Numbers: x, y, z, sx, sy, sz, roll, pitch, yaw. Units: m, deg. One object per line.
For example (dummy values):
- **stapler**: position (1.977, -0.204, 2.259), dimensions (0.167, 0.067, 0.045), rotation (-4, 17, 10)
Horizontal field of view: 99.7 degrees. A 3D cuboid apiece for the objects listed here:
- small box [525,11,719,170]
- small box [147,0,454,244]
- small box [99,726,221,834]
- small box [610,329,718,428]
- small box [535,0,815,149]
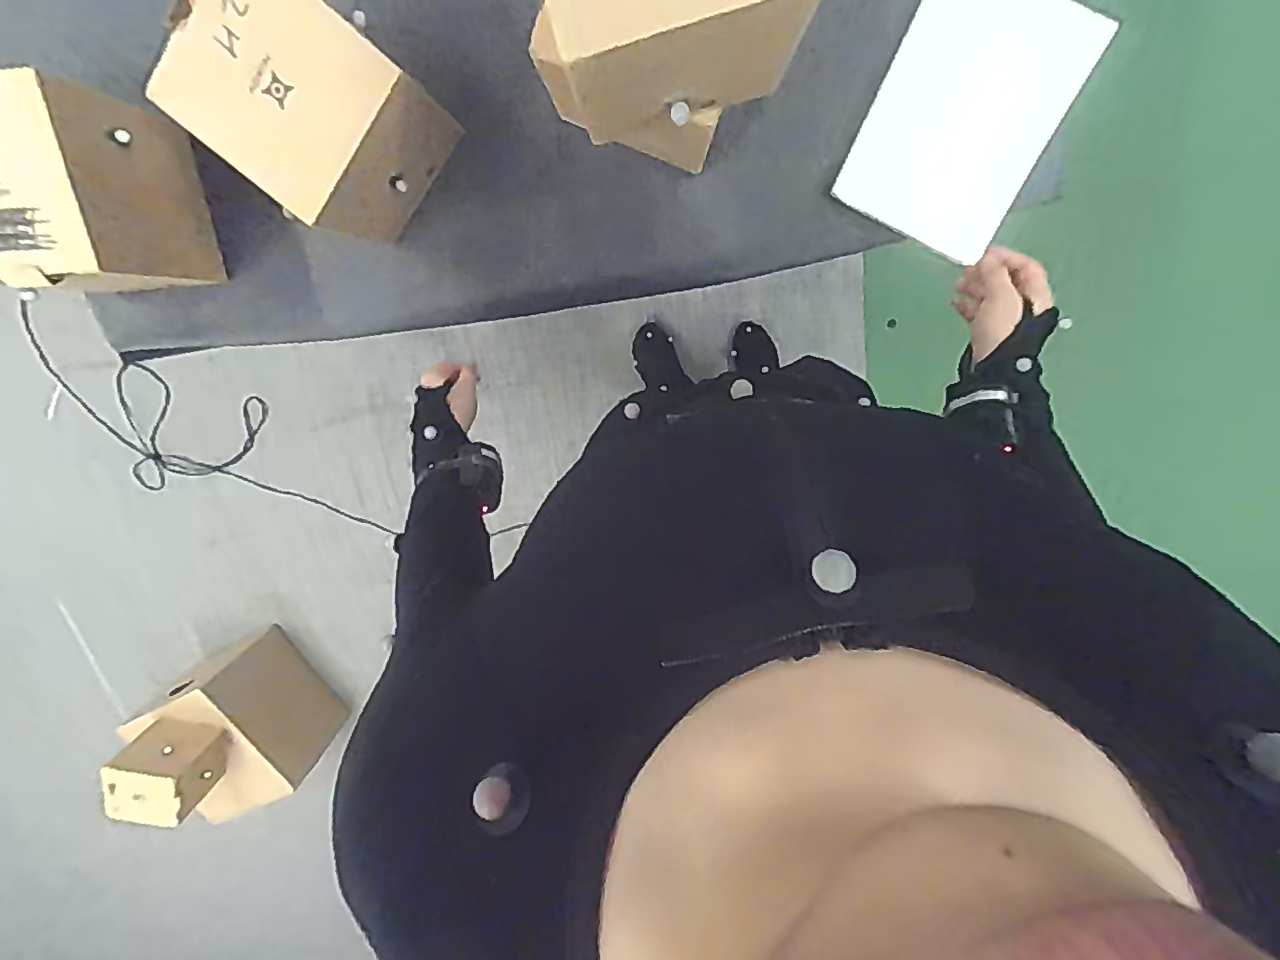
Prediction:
- **small box**: position (0.011, -0.430, 0.529), dimensions (0.179, 0.176, 0.168), rotation (20, 107, -3)
- **small box**: position (-0.326, -0.368, 0.559), dimensions (0.179, 0.176, 0.168), rotation (39, 104, -9)
- **small box**: position (-1.223, 0.766, 1.394), dimensions (0.179, 0.176, 0.168), rotation (12, 107, -4)
- **small box**: position (0.065, -0.250, 1.328), dimensions (0.176, 0.168, 0.179), rotation (28, 84, -37)
- **small box**: position (0.009, -0.368, 0.376), dimensions (0.168, 0.176, 0.179), rotation (-13, 106, 7)
